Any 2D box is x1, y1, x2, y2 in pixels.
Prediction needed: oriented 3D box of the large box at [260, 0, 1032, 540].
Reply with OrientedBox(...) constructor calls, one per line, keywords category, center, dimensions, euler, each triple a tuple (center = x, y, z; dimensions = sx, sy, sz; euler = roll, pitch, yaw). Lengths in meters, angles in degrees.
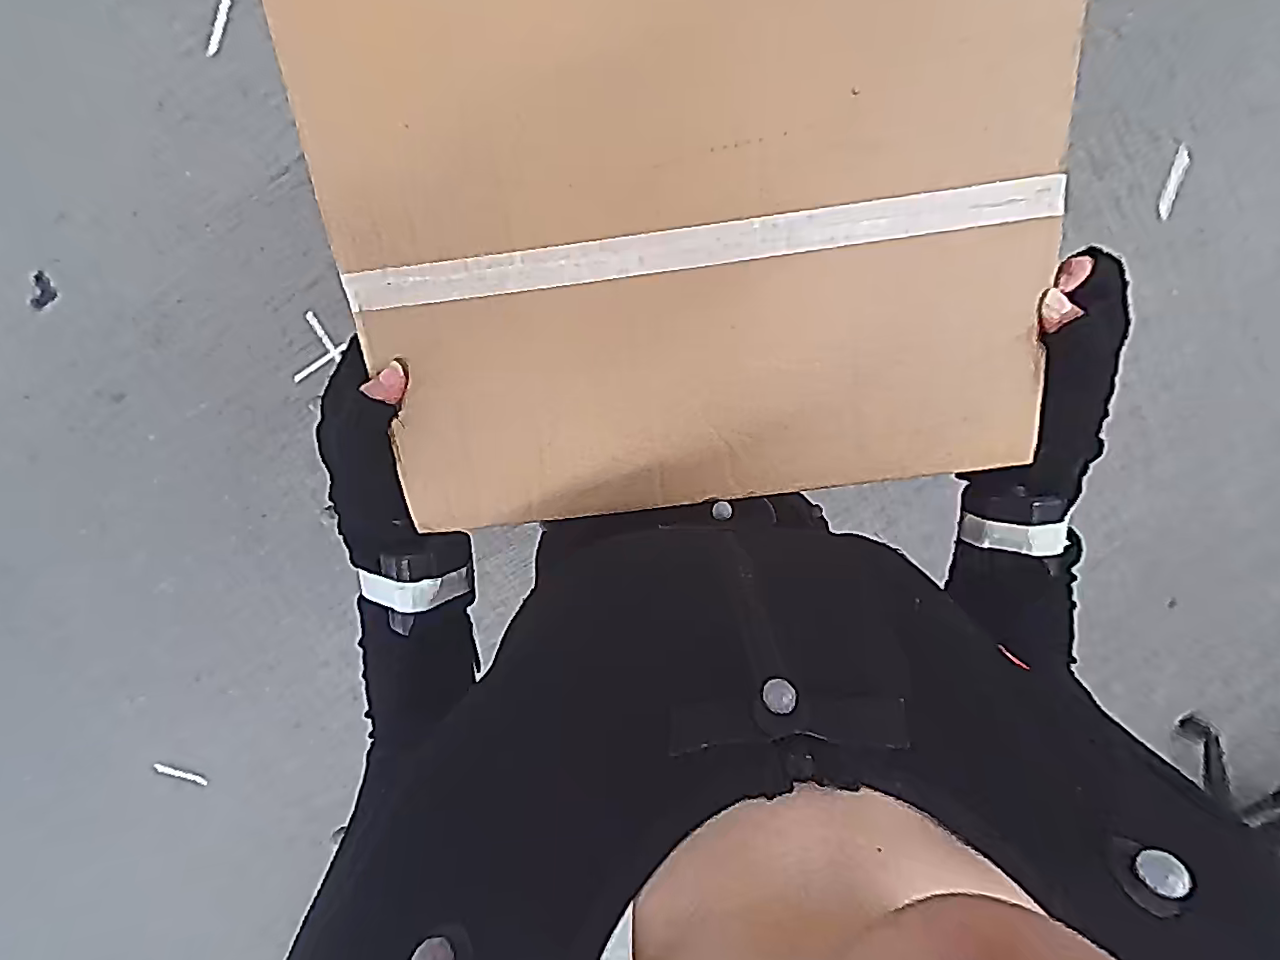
OrientedBox(category="large box", center=(0.021, -0.181, 0.459), dimensions=(0.408, 0.320, 0.320), euler=(-8, 109, 2))
